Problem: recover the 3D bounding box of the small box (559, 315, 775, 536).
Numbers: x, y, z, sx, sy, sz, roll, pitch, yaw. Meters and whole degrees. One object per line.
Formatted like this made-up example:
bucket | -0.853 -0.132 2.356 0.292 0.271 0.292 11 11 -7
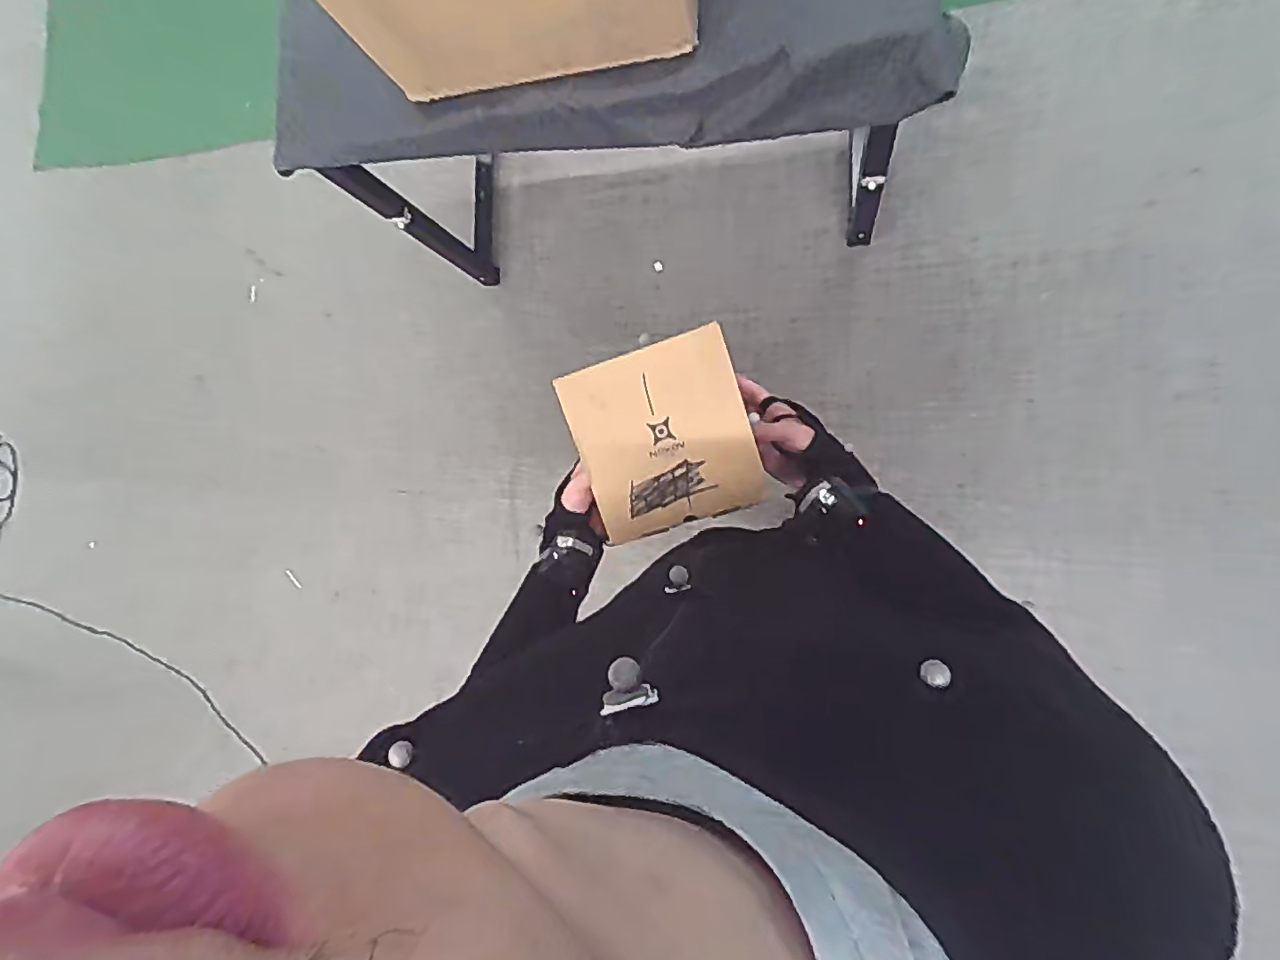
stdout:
small box | 0.035 -0.064 0.587 0.168 0.176 0.179 -18 100 9
